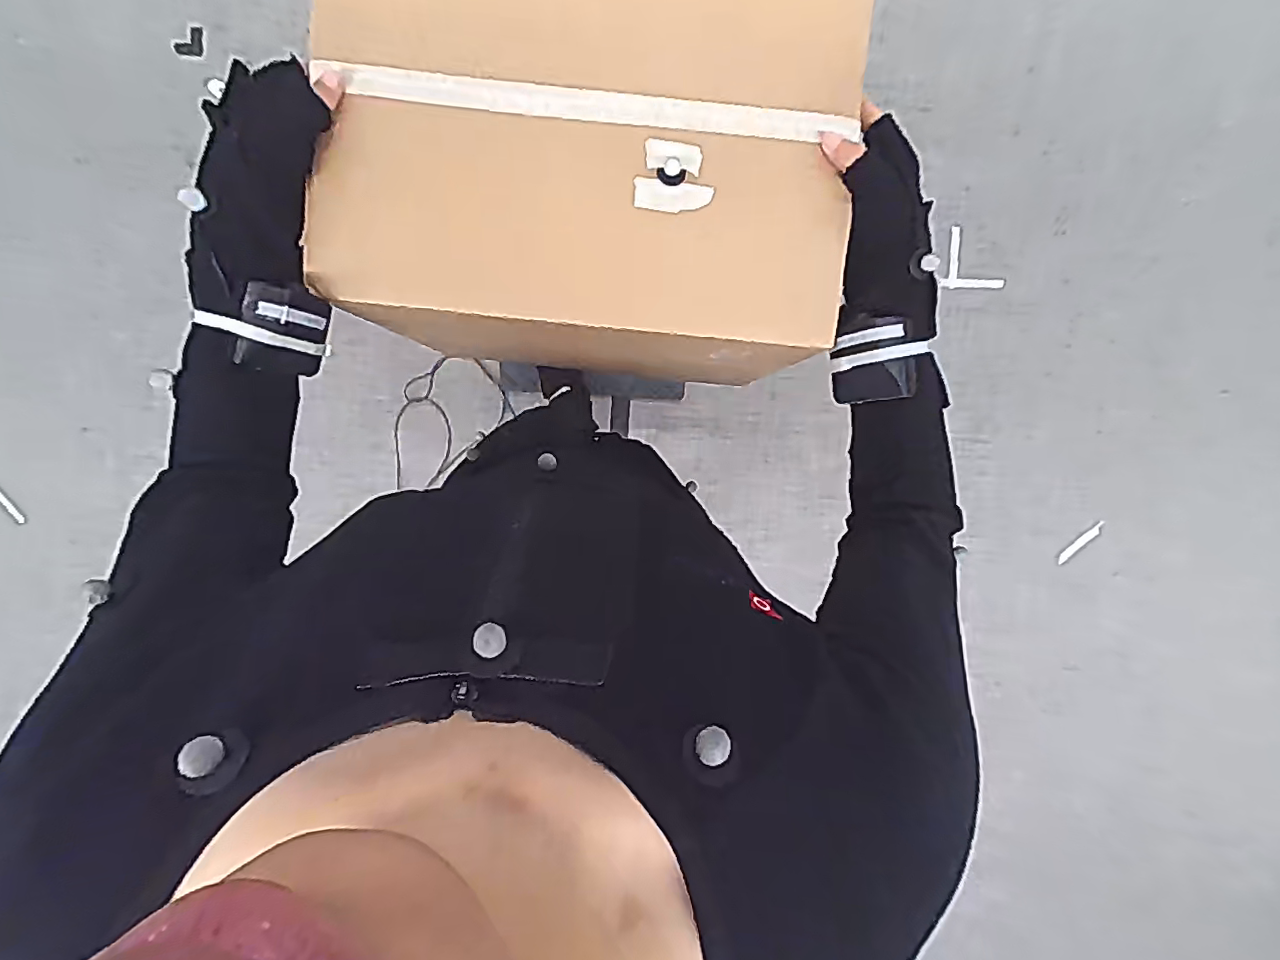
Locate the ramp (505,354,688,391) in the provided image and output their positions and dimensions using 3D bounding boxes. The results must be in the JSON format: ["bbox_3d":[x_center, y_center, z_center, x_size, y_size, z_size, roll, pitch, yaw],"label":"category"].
[{"bbox_3d":[-0.090,-0.726,1.316,0.509,0.206,0.991,1,96,-3],"label":"ramp"}]

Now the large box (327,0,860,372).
[{"bbox_3d":[-0.041,-0.300,0.565,0.408,0.320,0.320,5,95,-2],"label":"large box"}]
